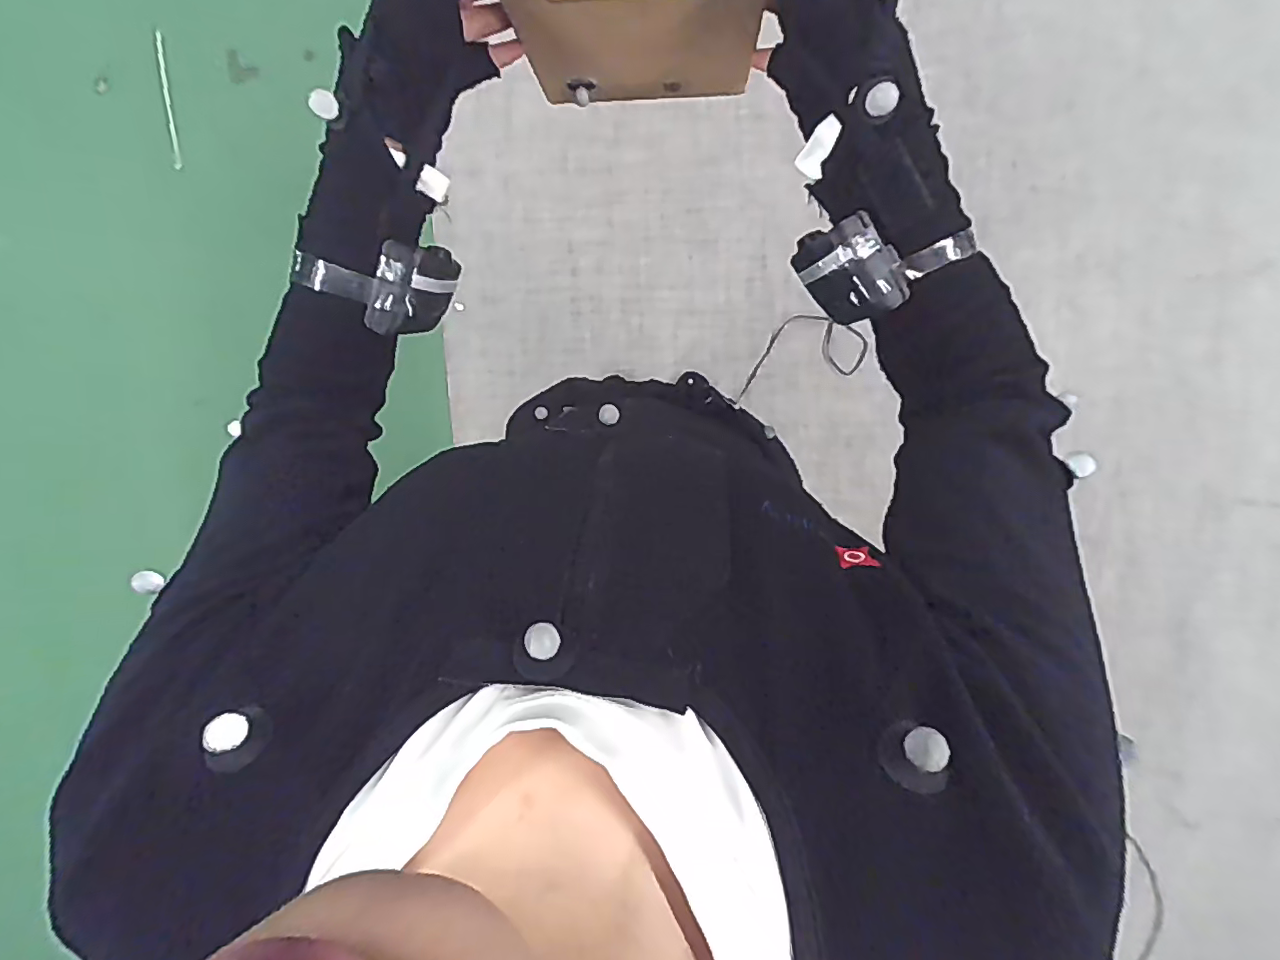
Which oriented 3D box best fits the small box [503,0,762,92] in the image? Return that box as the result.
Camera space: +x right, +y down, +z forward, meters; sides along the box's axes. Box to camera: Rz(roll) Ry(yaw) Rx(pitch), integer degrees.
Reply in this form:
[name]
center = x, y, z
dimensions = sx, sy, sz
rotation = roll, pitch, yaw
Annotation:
[small box]
center = -0.001, -0.384, 0.352
dimensions = 0.168, 0.176, 0.179
rotation = 0, 100, 4
